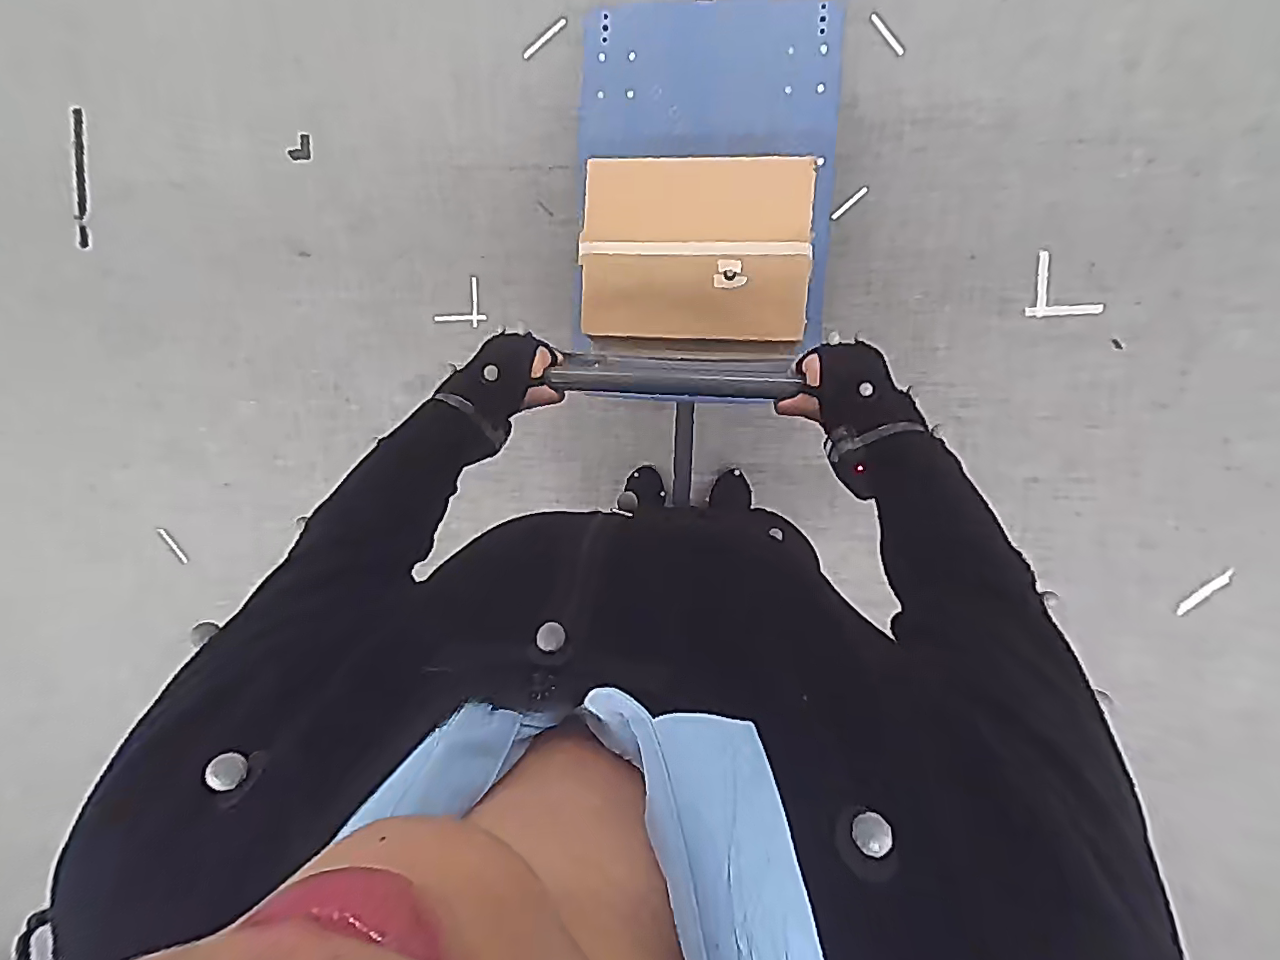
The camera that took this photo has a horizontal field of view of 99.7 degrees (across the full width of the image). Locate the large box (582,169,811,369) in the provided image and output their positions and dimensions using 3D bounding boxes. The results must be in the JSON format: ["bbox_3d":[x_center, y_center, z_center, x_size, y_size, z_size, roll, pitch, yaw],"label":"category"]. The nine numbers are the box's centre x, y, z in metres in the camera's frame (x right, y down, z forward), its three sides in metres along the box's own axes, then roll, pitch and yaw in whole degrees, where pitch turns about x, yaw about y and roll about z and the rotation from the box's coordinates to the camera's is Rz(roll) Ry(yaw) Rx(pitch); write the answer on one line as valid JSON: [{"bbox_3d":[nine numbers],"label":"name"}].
[{"bbox_3d":[0.108,-0.404,1.111,0.408,0.320,0.320,3,96,6],"label":"large box"}]
